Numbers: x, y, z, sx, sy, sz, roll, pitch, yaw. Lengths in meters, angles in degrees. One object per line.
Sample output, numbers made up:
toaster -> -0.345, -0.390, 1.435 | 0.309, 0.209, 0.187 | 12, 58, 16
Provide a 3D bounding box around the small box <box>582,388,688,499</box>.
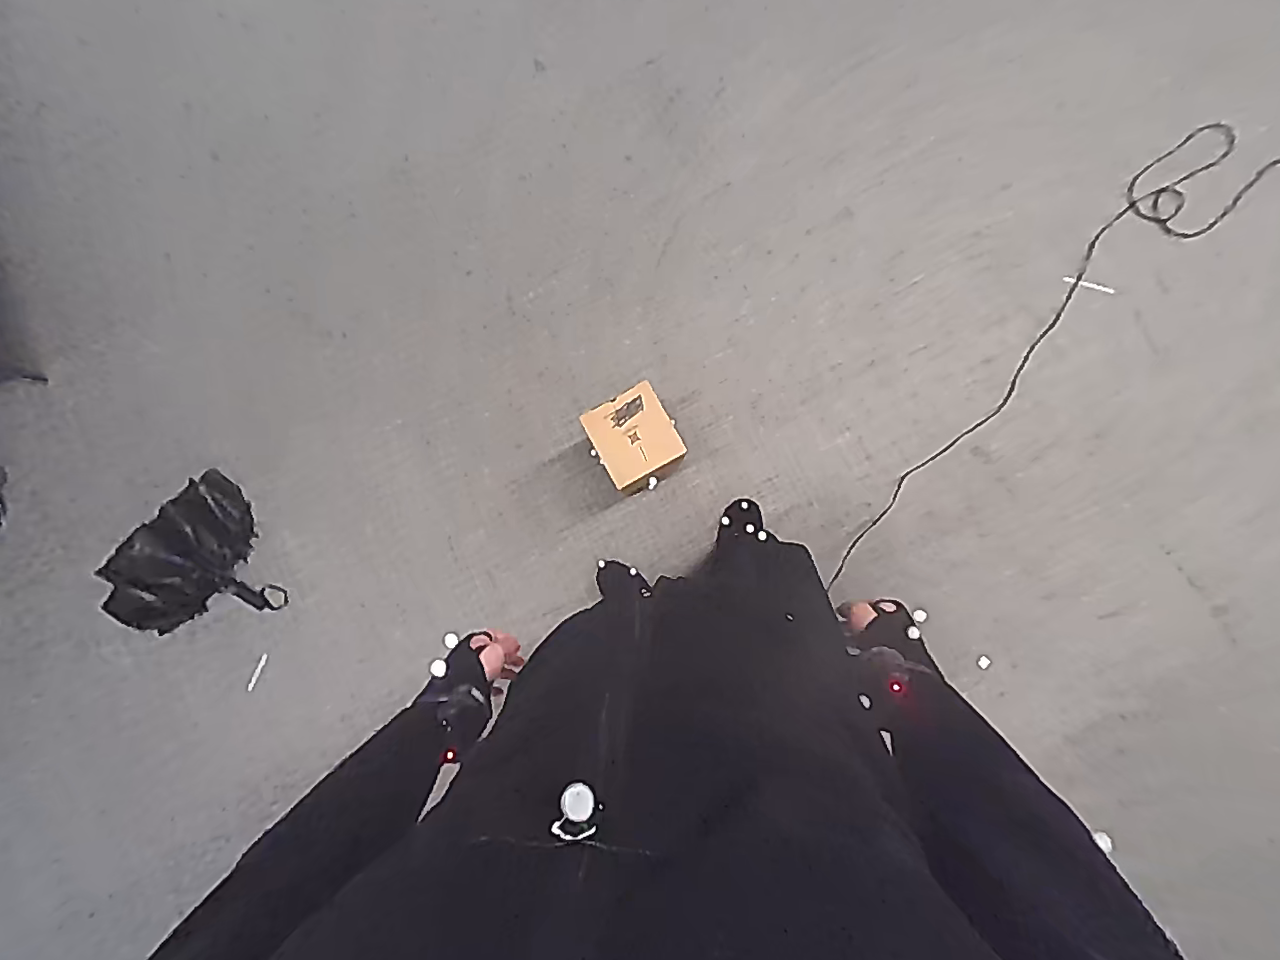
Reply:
small box -> -0.010, -0.071, 1.191 | 0.168, 0.176, 0.179 | -29, 85, -1
